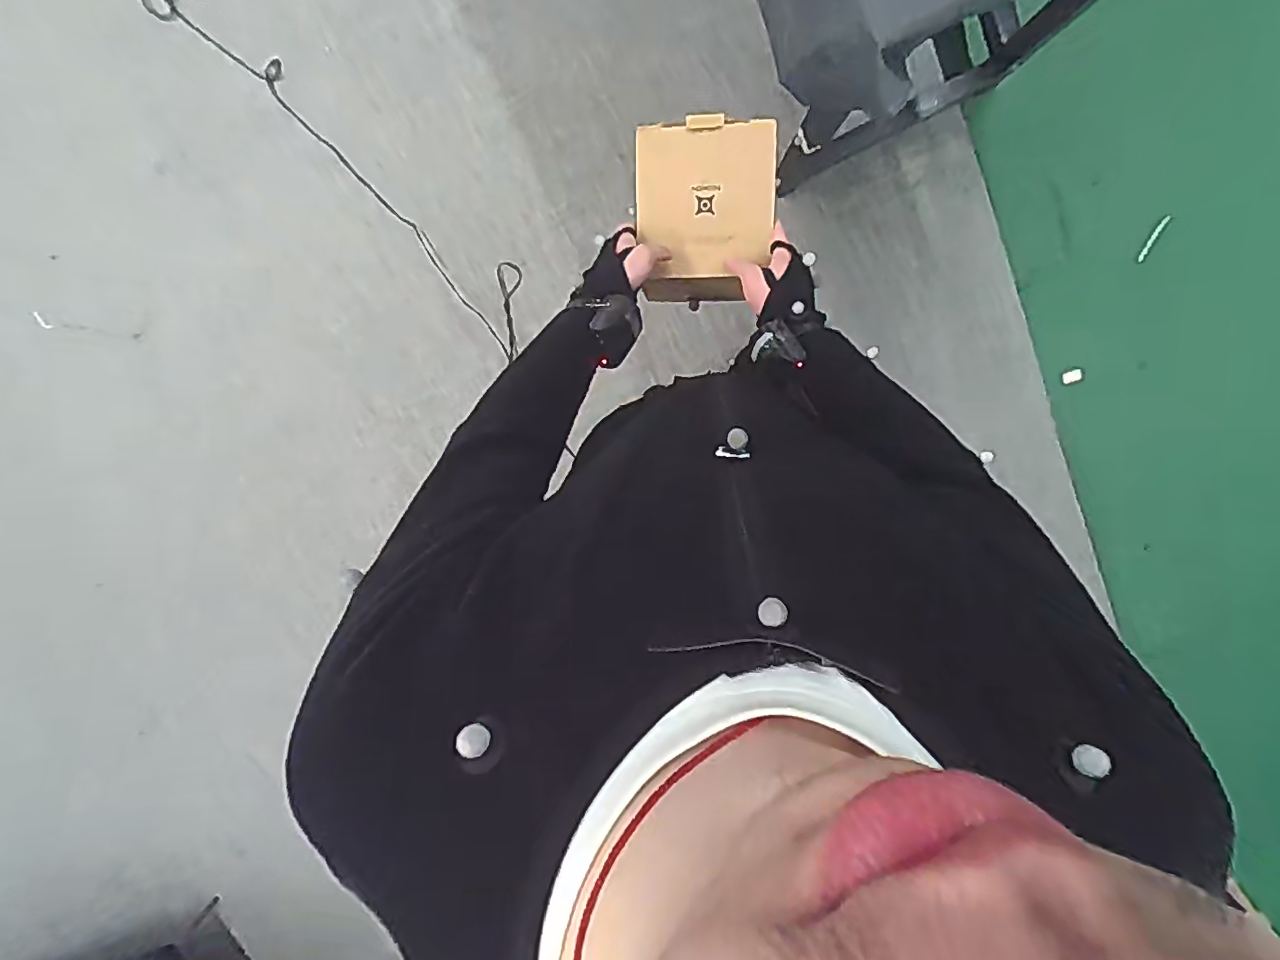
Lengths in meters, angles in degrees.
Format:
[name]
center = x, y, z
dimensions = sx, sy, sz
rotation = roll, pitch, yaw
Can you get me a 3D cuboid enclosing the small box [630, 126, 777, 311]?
[small box]
center = 0.079, -0.329, 0.709
dimensions = 0.168, 0.176, 0.179
rotation = 2, 98, 6
